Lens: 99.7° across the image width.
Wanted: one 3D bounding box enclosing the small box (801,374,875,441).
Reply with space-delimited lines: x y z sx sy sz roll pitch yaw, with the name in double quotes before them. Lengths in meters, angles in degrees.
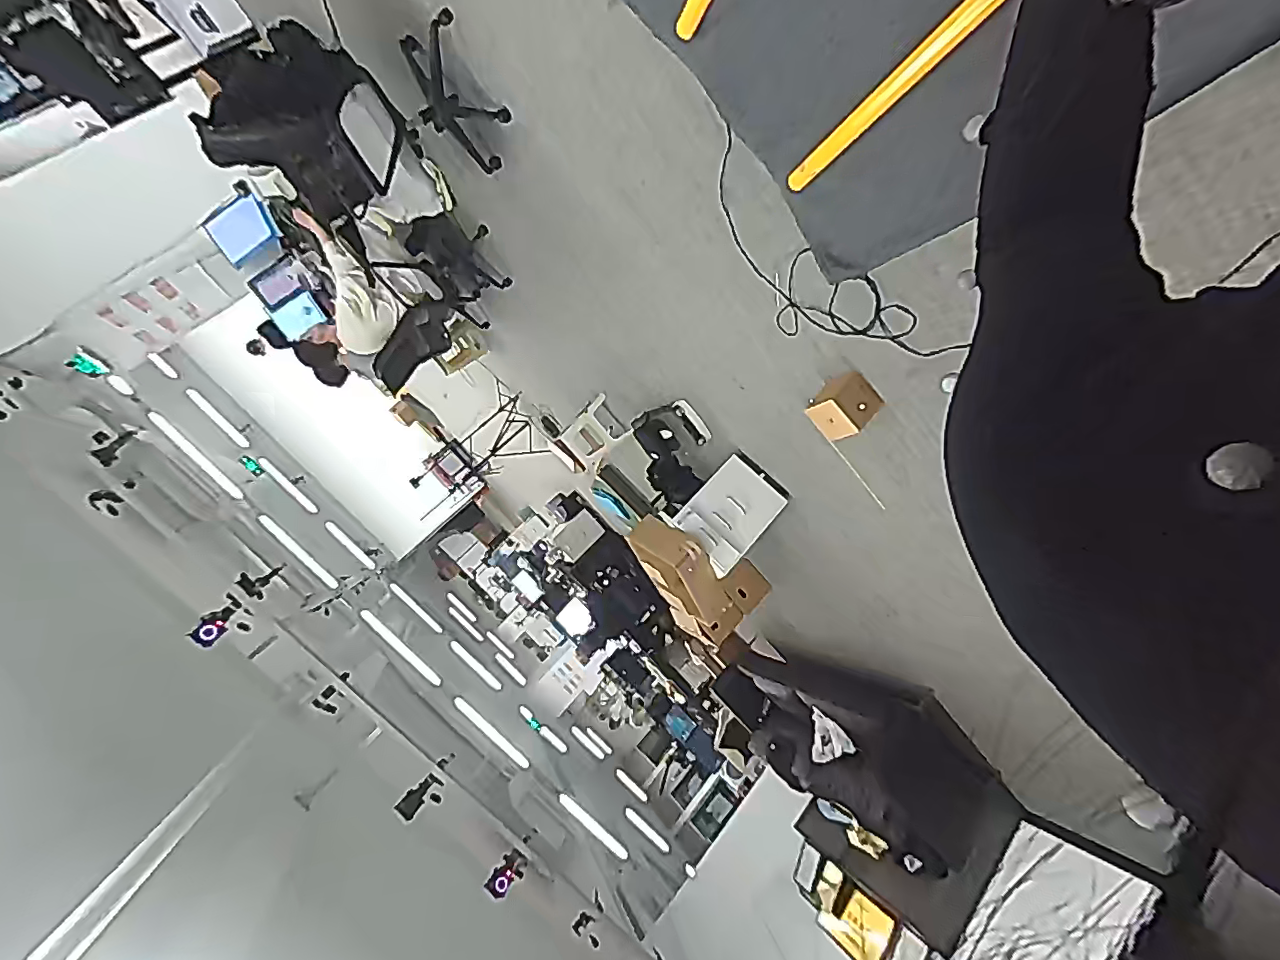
"small box" 0.758 -0.277 2.048 0.168 0.176 0.179 47 162 -7
